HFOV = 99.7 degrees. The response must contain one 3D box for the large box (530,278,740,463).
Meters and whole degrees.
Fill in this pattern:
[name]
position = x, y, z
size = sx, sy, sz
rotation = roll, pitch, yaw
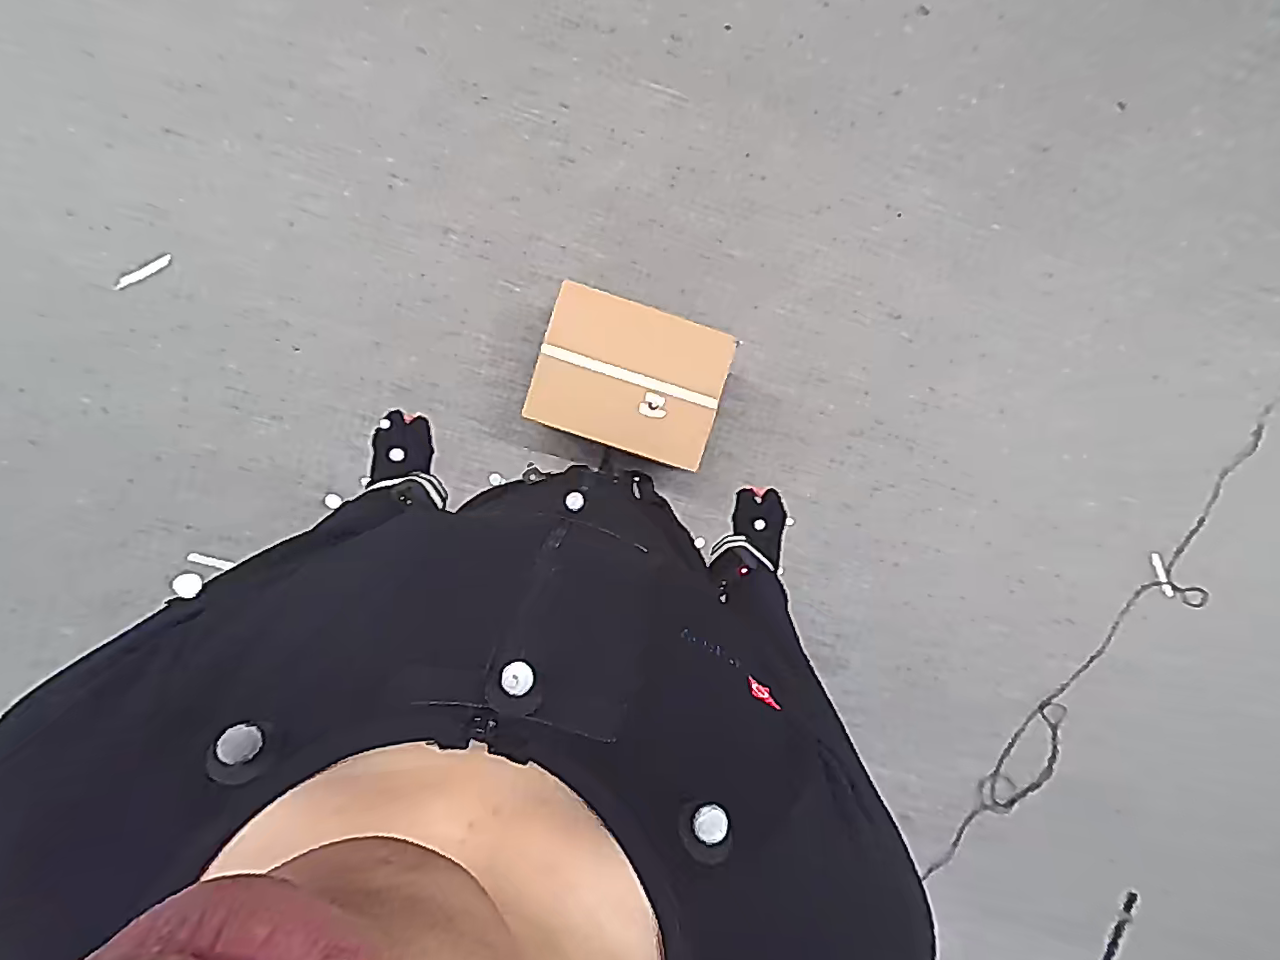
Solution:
[large box]
position = -0.019, -0.245, 1.328
size = 0.408, 0.320, 0.320
rotation = 17, 93, -4
